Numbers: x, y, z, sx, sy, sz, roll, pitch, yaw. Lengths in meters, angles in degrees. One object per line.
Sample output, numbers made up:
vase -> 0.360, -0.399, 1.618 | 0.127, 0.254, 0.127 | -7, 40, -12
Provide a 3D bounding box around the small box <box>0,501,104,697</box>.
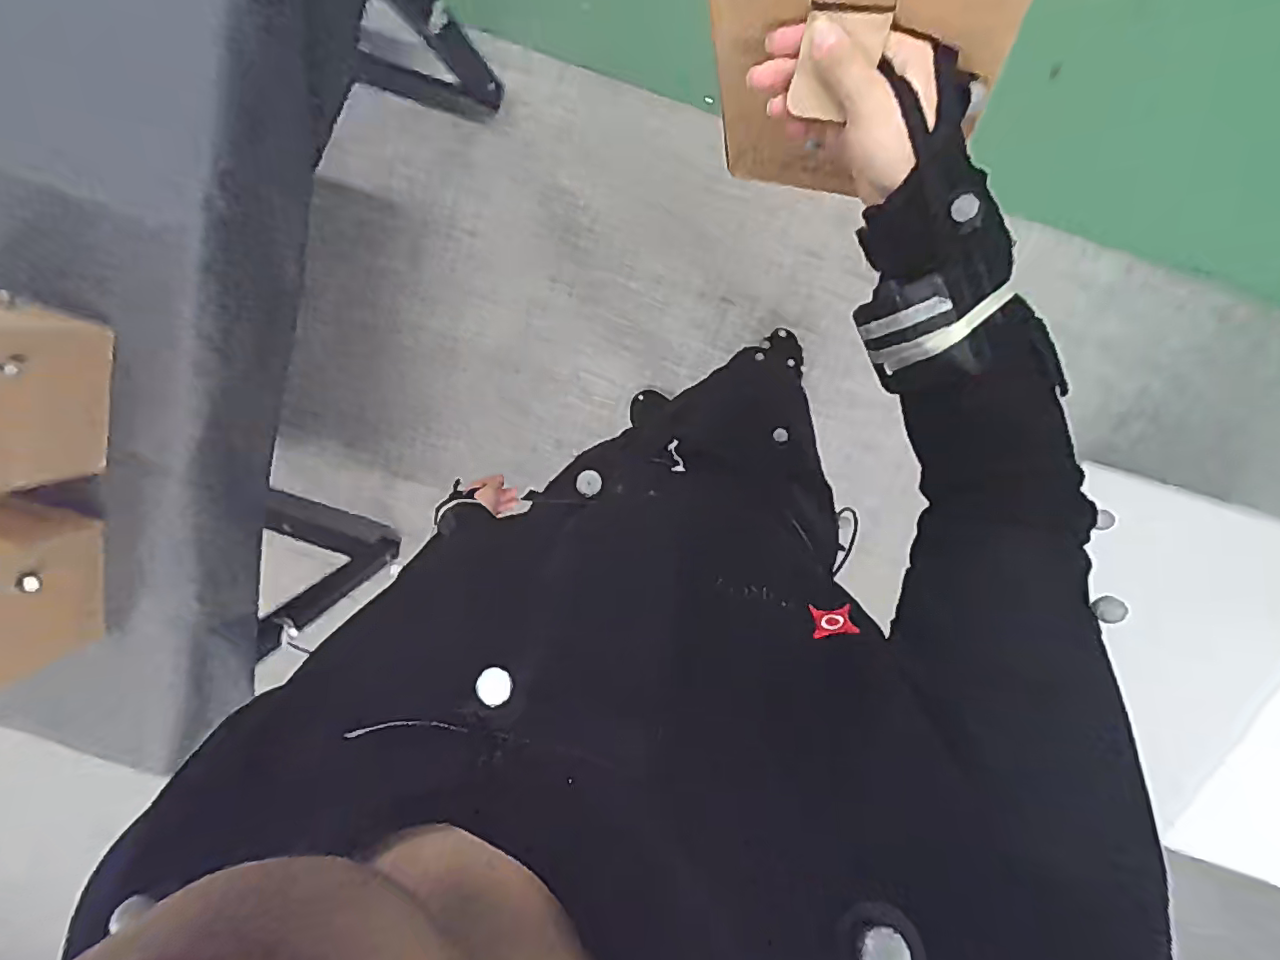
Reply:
small box -> -0.774, 0.135, 0.620 | 0.168, 0.176, 0.179 | 14, 105, 2
